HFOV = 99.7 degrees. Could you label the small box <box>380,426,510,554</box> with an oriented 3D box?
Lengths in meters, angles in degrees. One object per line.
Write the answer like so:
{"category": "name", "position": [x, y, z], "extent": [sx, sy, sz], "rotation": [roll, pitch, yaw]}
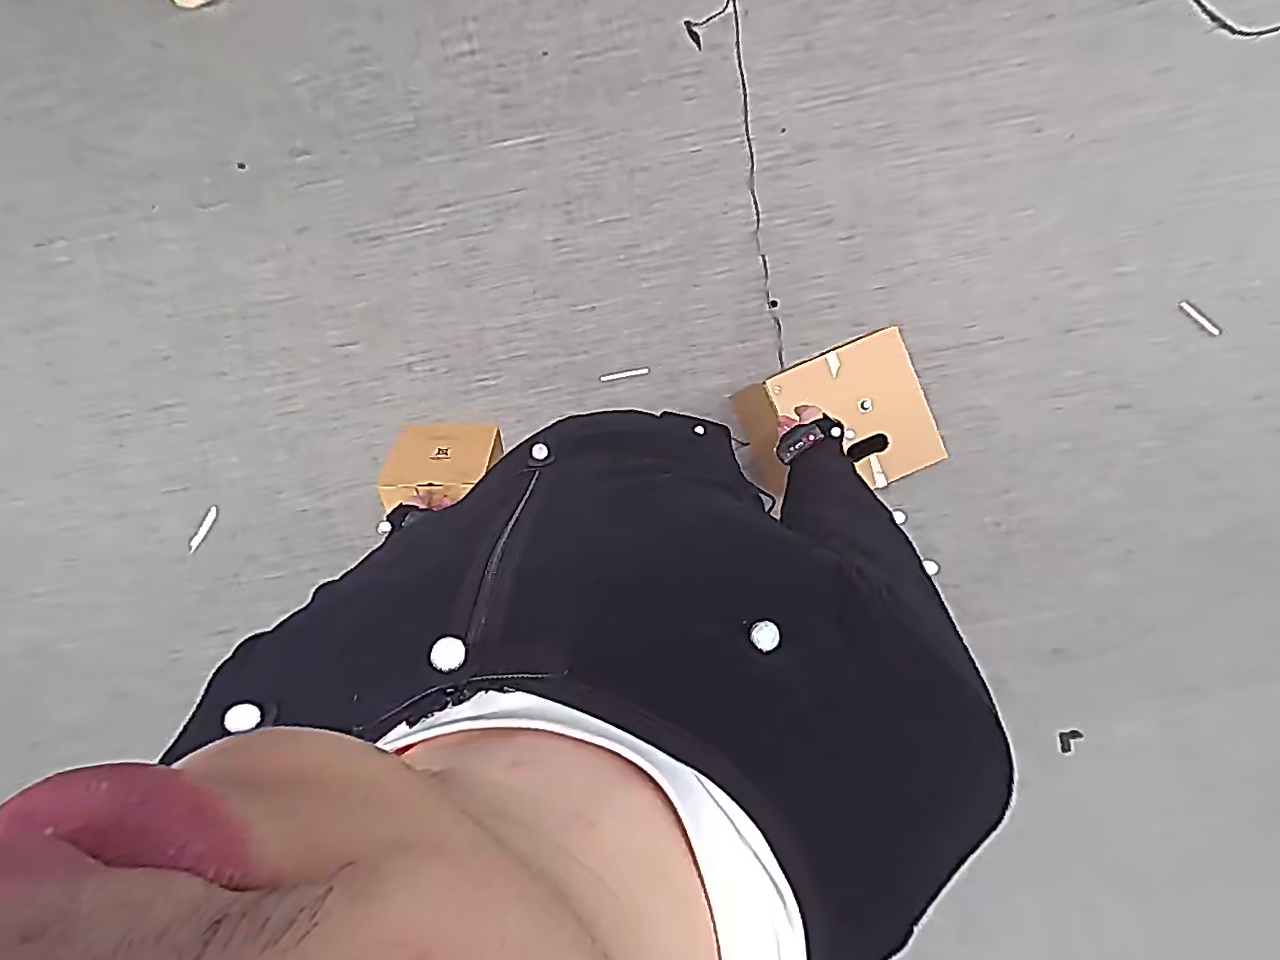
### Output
{"category": "small box", "position": [-0.336, 0.021, 0.975], "extent": [0.168, 0.179, 0.176], "rotation": [-1, 128, -3]}
